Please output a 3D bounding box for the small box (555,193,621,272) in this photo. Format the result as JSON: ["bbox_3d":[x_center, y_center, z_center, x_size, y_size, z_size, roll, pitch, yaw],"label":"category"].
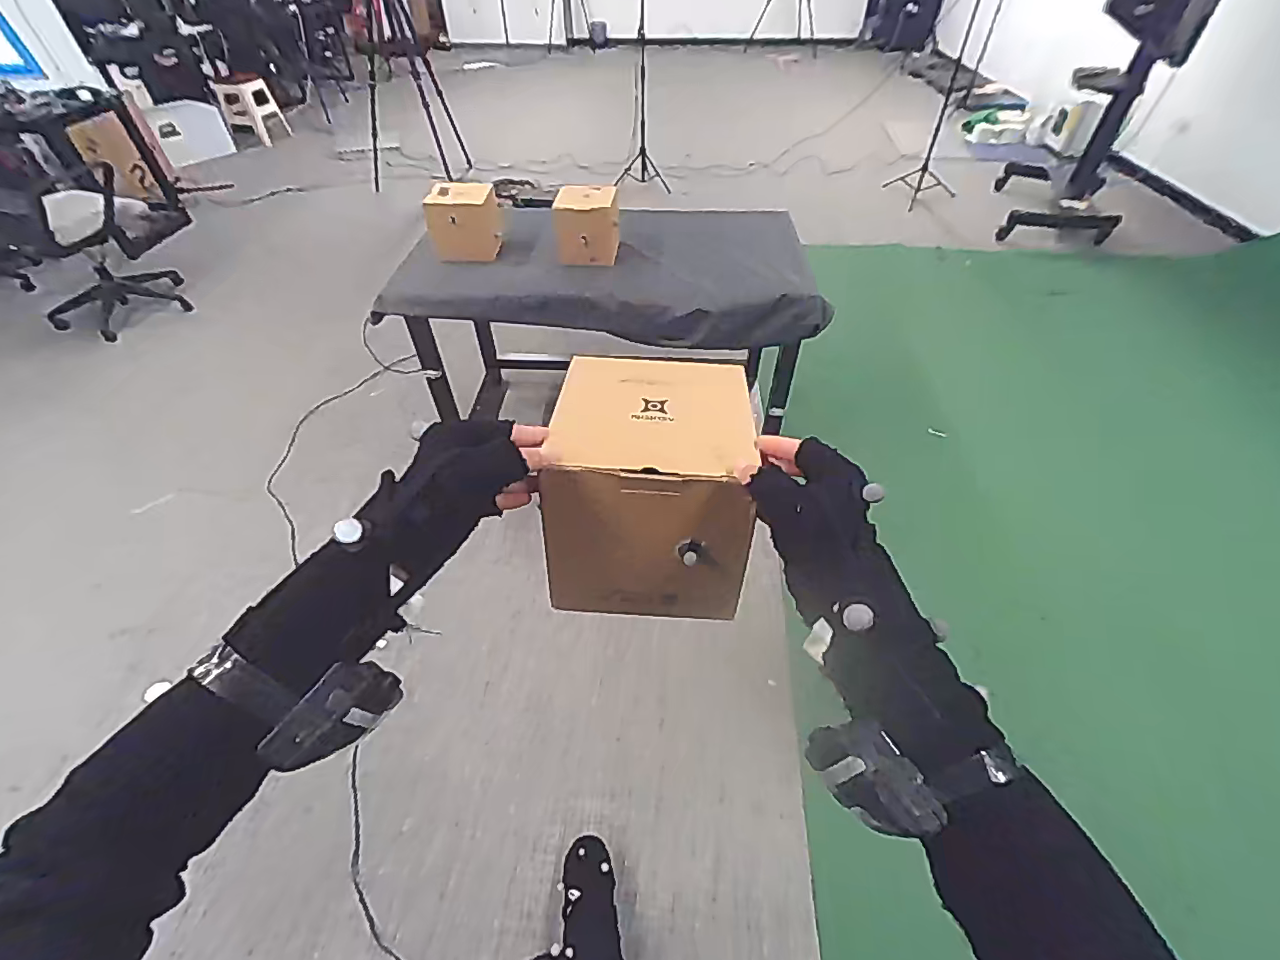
[{"bbox_3d":[-0.148,-0.737,1.615,0.168,0.176,0.179,3,47,4],"label":"small box"}]

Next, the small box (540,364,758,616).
[{"bbox_3d":[0.010,0.007,0.509,0.168,0.176,0.179,4,37,1],"label":"small box"}]

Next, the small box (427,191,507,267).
[{"bbox_3d":[-0.517,-0.759,1.638,0.179,0.176,0.168,1,46,0],"label":"small box"}]
